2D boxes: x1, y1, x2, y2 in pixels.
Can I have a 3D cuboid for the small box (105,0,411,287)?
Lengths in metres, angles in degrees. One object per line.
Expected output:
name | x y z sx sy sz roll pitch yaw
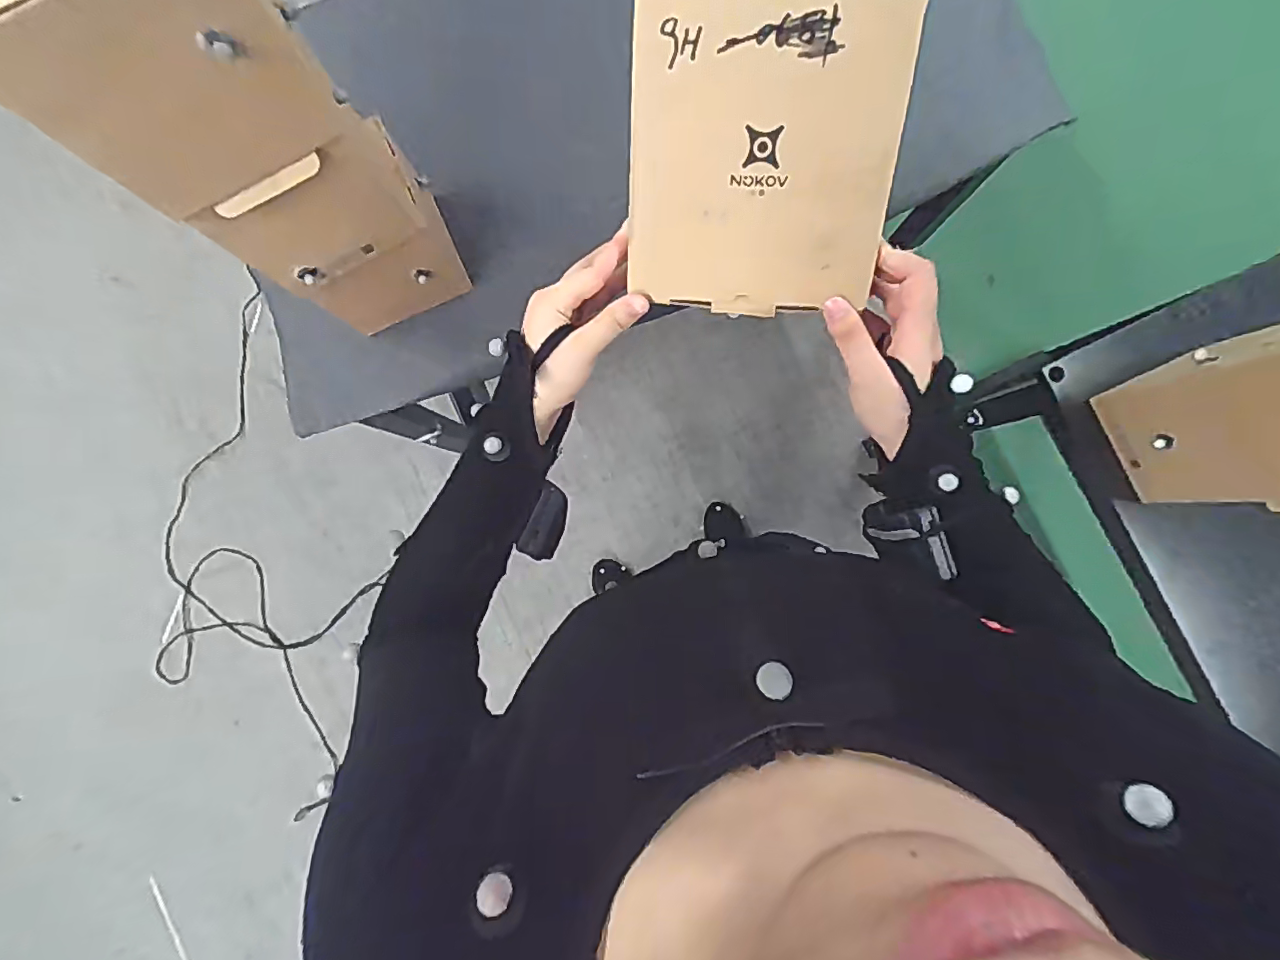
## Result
small box | -0.375 -0.331 0.566 0.168 0.176 0.179 -29 83 -1

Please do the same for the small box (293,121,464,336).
small box | -0.361 -0.323 0.730 0.179 0.176 0.168 -25 84 1

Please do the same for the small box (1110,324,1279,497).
small box | 0.748 -0.083 0.675 0.179 0.176 0.168 -25 87 0

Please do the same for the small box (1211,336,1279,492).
small box | 0.731 -0.081 0.512 0.168 0.176 0.179 -25 86 1
